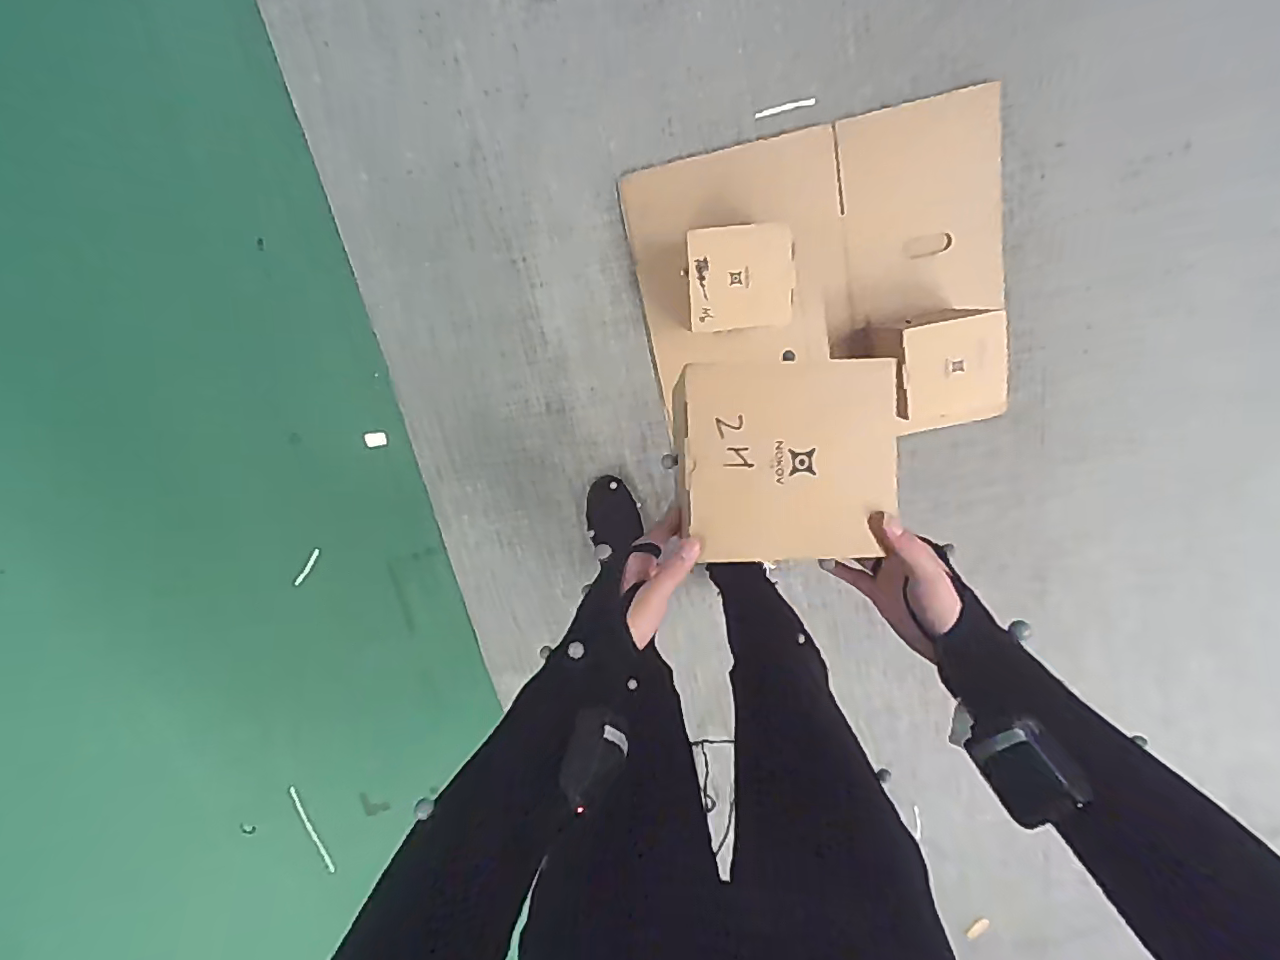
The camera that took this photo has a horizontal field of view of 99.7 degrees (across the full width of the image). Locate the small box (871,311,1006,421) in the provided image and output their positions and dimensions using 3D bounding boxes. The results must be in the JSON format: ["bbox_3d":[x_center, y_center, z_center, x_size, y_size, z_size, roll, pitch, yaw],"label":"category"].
[{"bbox_3d":[0.551,-0.218,1.019,0.179,0.176,0.168,-10,107,5],"label":"small box"}]

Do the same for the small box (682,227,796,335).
[{"bbox_3d":[0.172,-0.356,0.980,0.179,0.176,0.168,-3,107,2],"label":"small box"}]

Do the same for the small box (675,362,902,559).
[{"bbox_3d":[0.129,-0.020,0.527,0.179,0.176,0.168,-1,92,0],"label":"small box"}]
